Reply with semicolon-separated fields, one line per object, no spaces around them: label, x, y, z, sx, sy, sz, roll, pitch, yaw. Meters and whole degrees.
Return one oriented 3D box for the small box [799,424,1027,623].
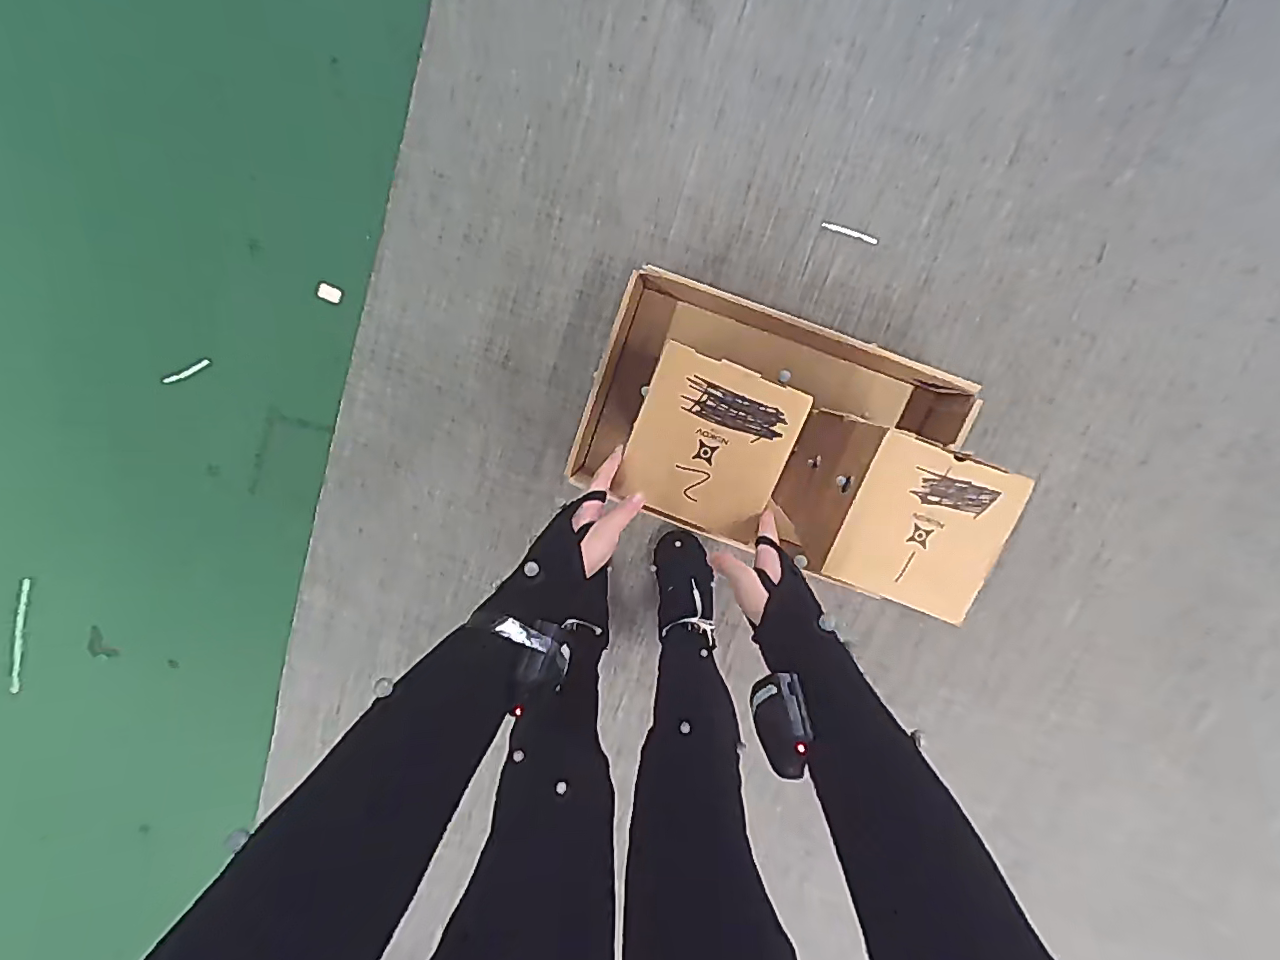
small box;0.316;0.040;0.671;0.168;0.176;0.179;21;102;1

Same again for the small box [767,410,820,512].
small box;0.343;-0.019;0.992;0.168;0.176;0.179;20;101;1

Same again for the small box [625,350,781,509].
small box;0.088;-0.081;0.826;0.168;0.176;0.179;24;100;-2

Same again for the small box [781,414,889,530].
small box;0.332;0.006;0.831;0.168;0.176;0.179;22;101;1
